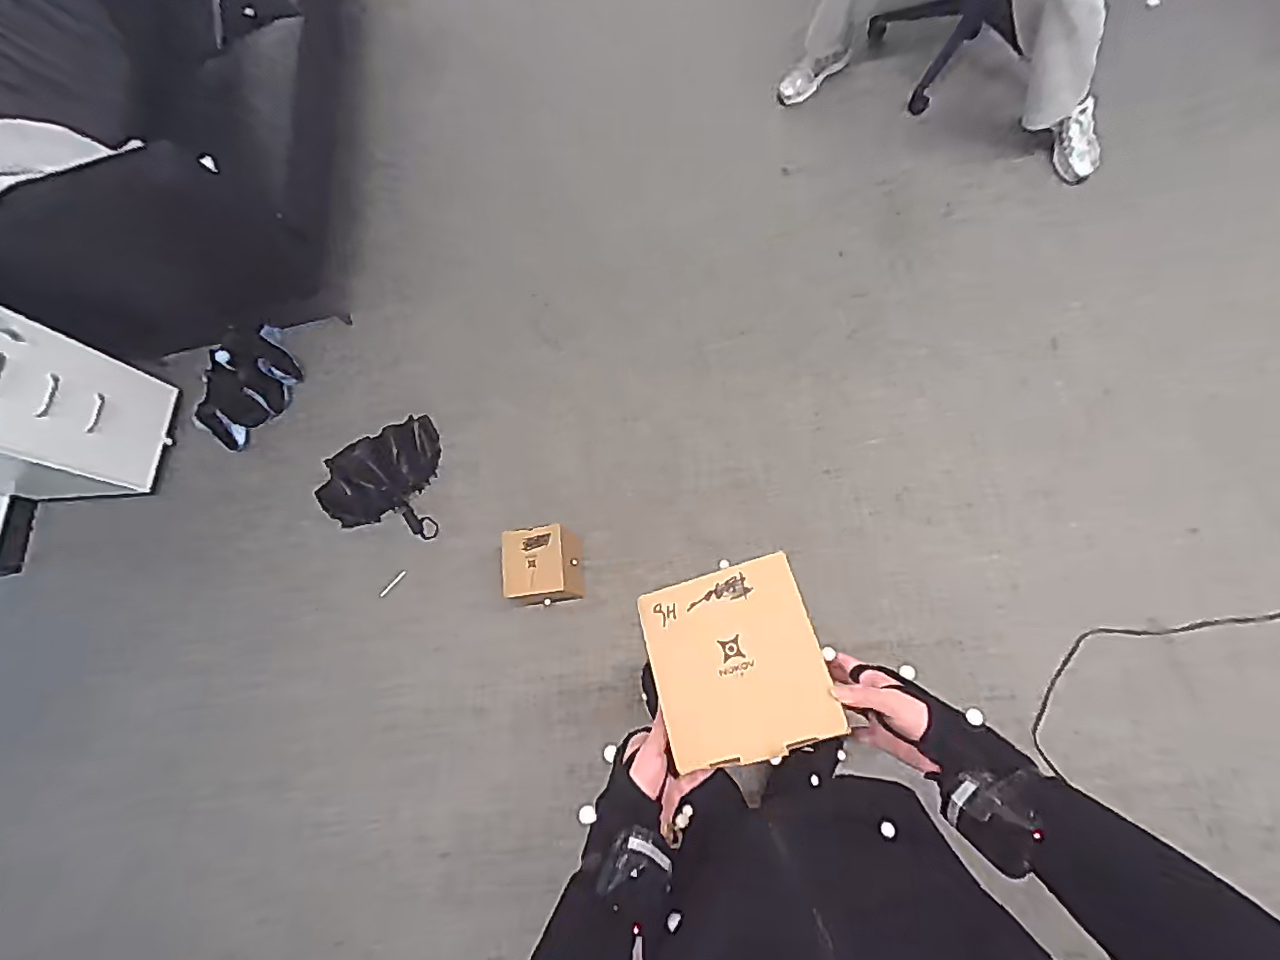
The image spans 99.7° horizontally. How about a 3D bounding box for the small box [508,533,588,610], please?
[{"bbox_3d":[-0.250,0.256,1.483,0.168,0.176,0.179,-10,72,10],"label":"small box"}]
